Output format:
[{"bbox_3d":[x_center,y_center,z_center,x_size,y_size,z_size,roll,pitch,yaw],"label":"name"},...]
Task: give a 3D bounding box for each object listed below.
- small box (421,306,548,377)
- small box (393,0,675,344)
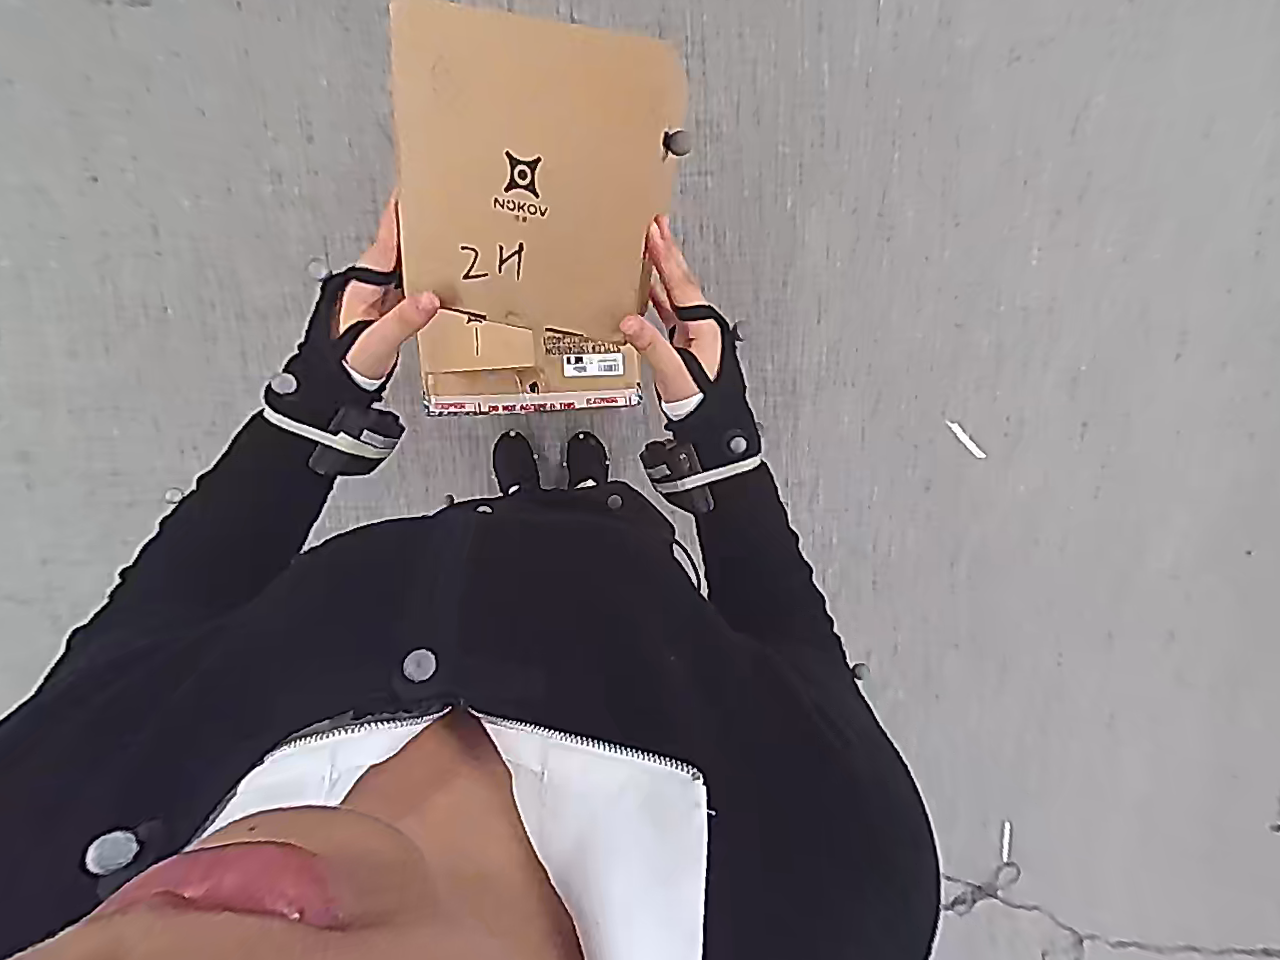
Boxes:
[{"bbox_3d":[-0.243,-0.260,0.869,0.168,0.176,0.179,-5,101,-3],"label":"small box"},{"bbox_3d":[-0.068,-0.224,0.419,0.168,0.176,0.179,11,118,2],"label":"small box"}]
